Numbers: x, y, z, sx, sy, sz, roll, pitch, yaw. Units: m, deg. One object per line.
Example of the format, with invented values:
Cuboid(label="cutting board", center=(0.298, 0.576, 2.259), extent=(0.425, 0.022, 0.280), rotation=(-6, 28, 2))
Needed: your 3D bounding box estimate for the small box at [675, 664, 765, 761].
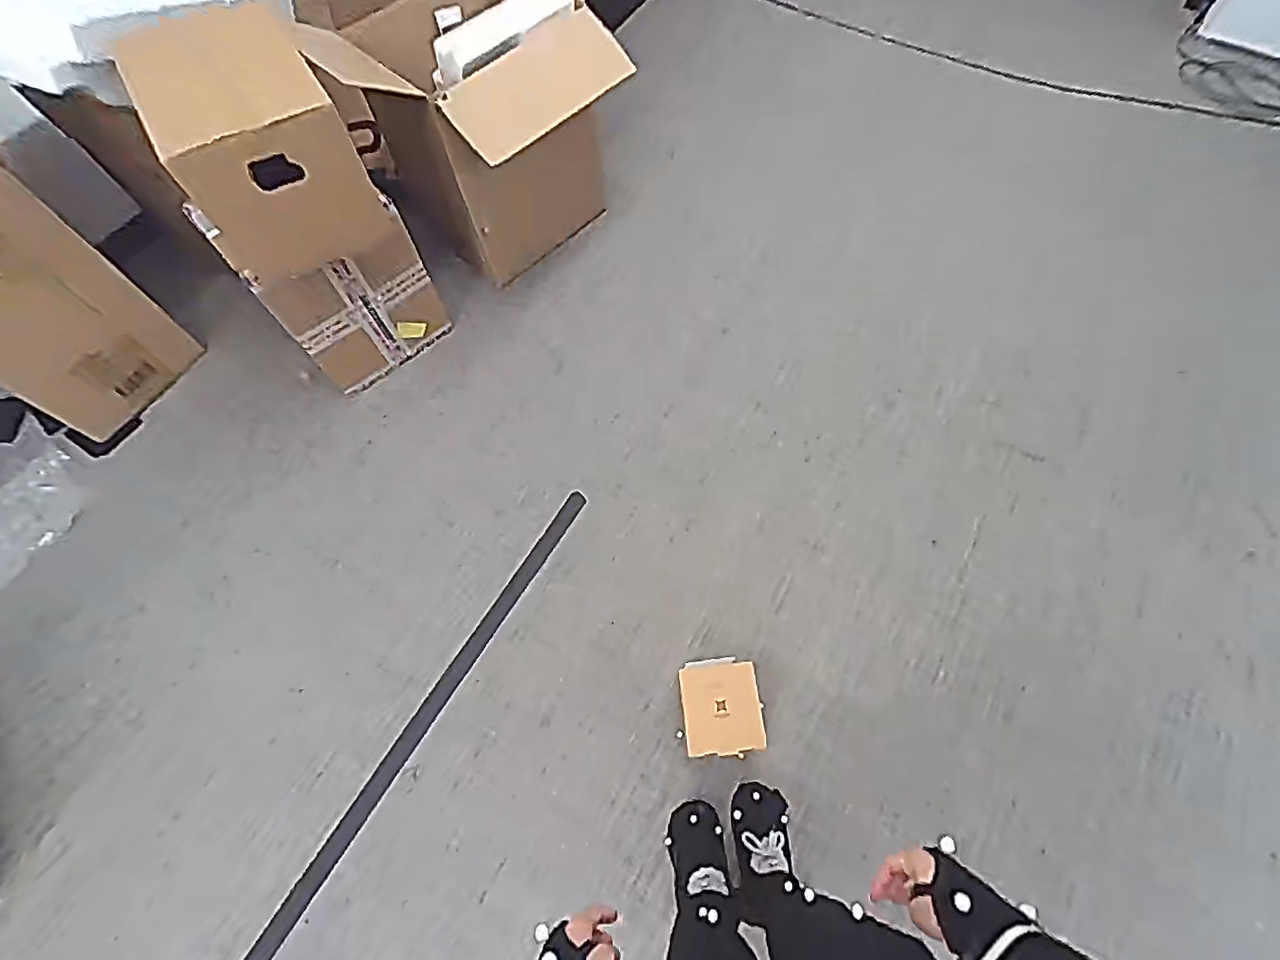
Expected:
Cuboid(label="small box", center=(0.171, 0.519, 1.211), extent=(0.168, 0.176, 0.179), rotation=(-6, 65, -2))
